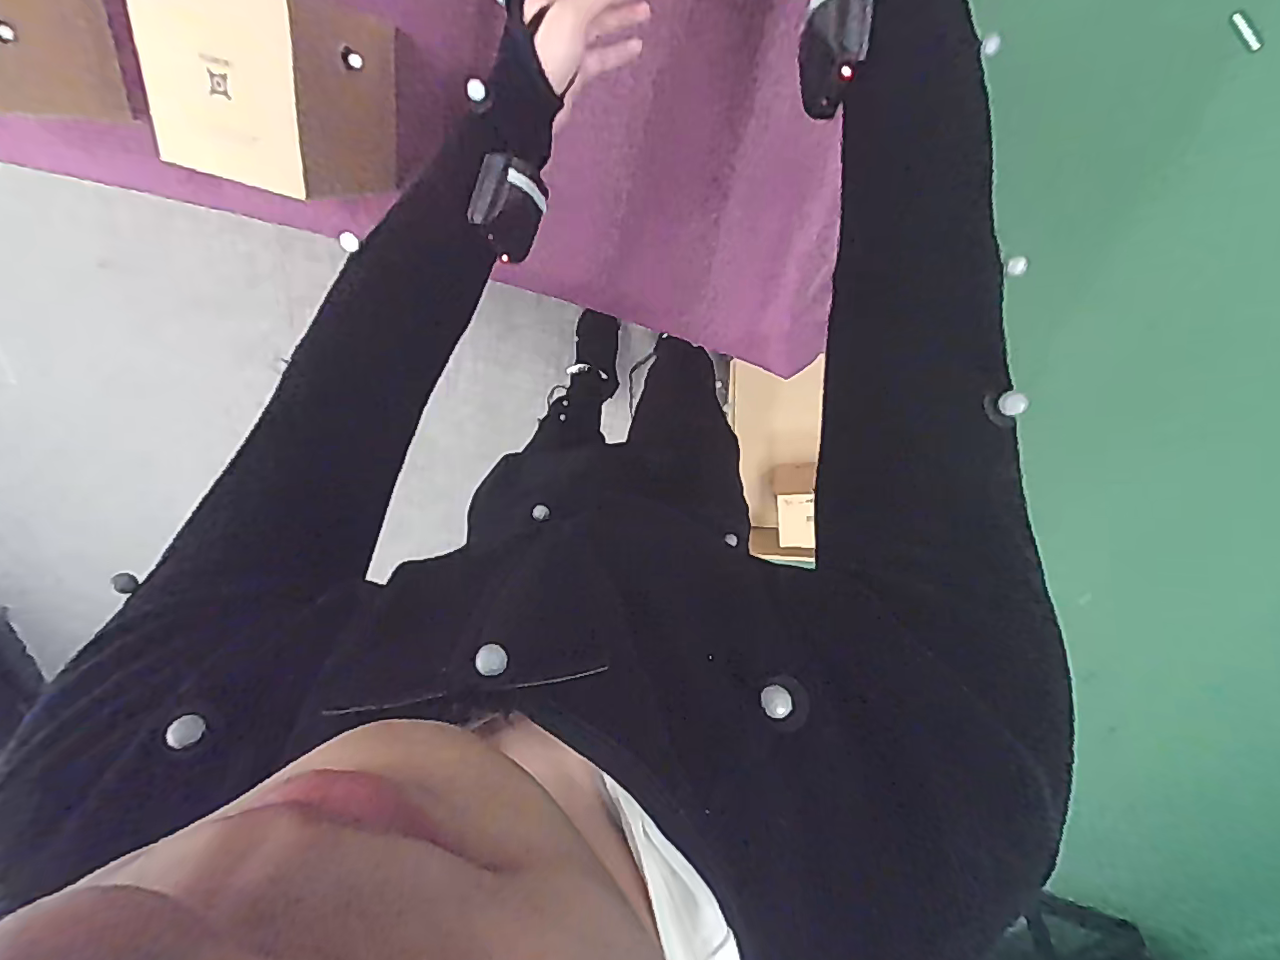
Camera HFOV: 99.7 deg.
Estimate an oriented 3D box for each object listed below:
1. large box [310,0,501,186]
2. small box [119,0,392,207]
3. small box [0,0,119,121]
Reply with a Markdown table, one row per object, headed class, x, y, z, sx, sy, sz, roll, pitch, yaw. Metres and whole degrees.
| class | x | y | z | sx | sy | sz | roll | pitch | yaw |
| --- | --- | --- | --- | --- | --- | --- | --- | --- | --- |
| large box | -0.498 | -0.863 | 1.115 | 0.320 | 0.320 | 0.408 | 16 | 122 | 2 |
| small box | -0.387 | -0.413 | 0.577 | 0.168 | 0.176 | 0.179 | 18 | 122 | 2 |
| small box | -0.736 | -0.512 | 0.590 | 0.168 | 0.176 | 0.179 | 15 | 121 | 2 |
